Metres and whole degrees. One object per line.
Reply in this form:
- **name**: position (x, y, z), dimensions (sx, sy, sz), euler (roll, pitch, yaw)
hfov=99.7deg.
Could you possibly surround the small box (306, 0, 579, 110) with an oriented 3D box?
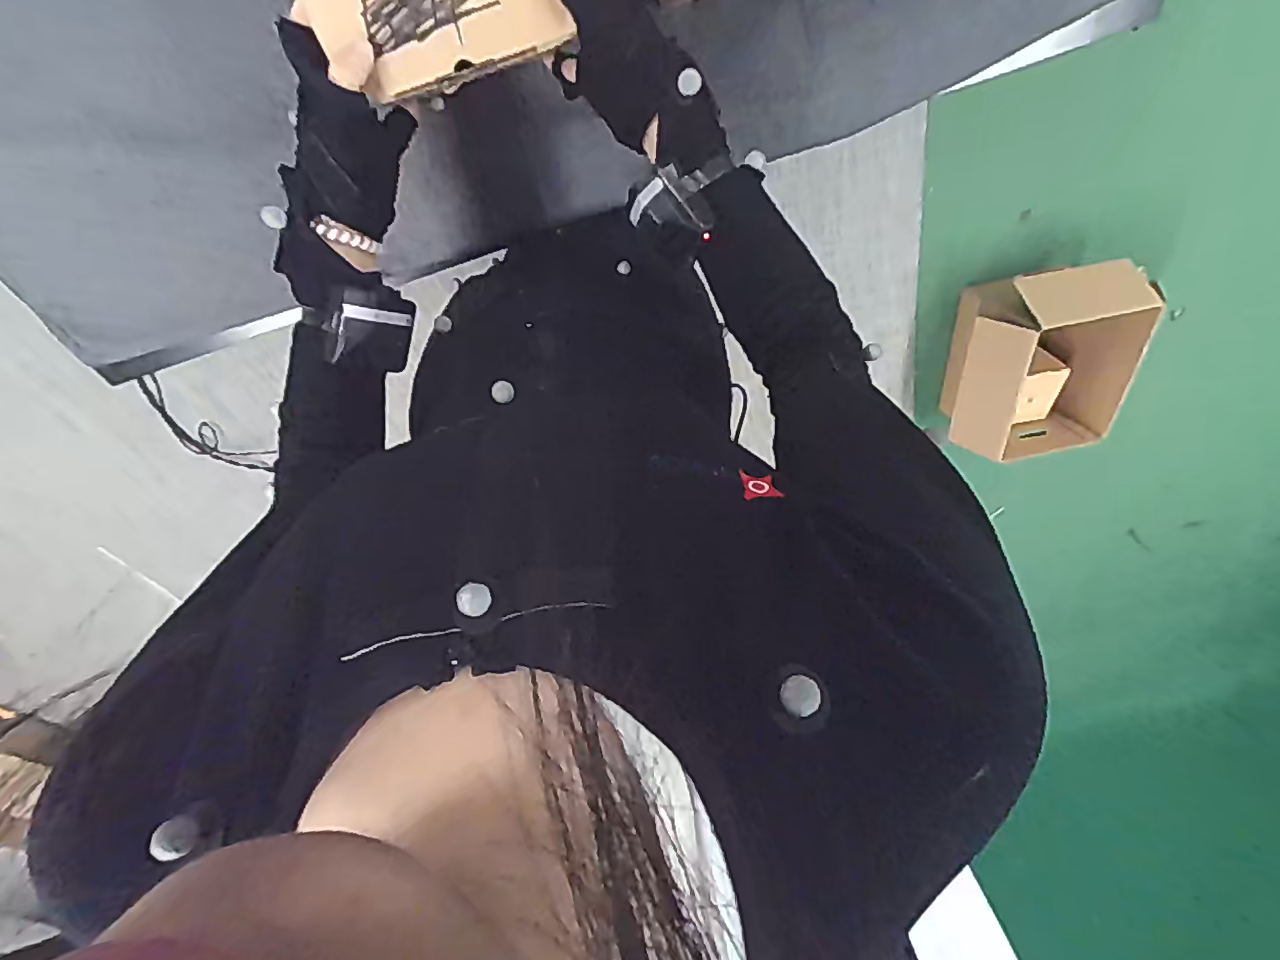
- **small box**: position (-0.146, -0.390, 0.381), dimensions (0.168, 0.176, 0.179), euler (-16, 126, 4)

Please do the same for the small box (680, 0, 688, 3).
- **small box**: position (0.085, -0.466, 0.367), dimensions (0.168, 0.176, 0.179), euler (-17, 129, 5)
